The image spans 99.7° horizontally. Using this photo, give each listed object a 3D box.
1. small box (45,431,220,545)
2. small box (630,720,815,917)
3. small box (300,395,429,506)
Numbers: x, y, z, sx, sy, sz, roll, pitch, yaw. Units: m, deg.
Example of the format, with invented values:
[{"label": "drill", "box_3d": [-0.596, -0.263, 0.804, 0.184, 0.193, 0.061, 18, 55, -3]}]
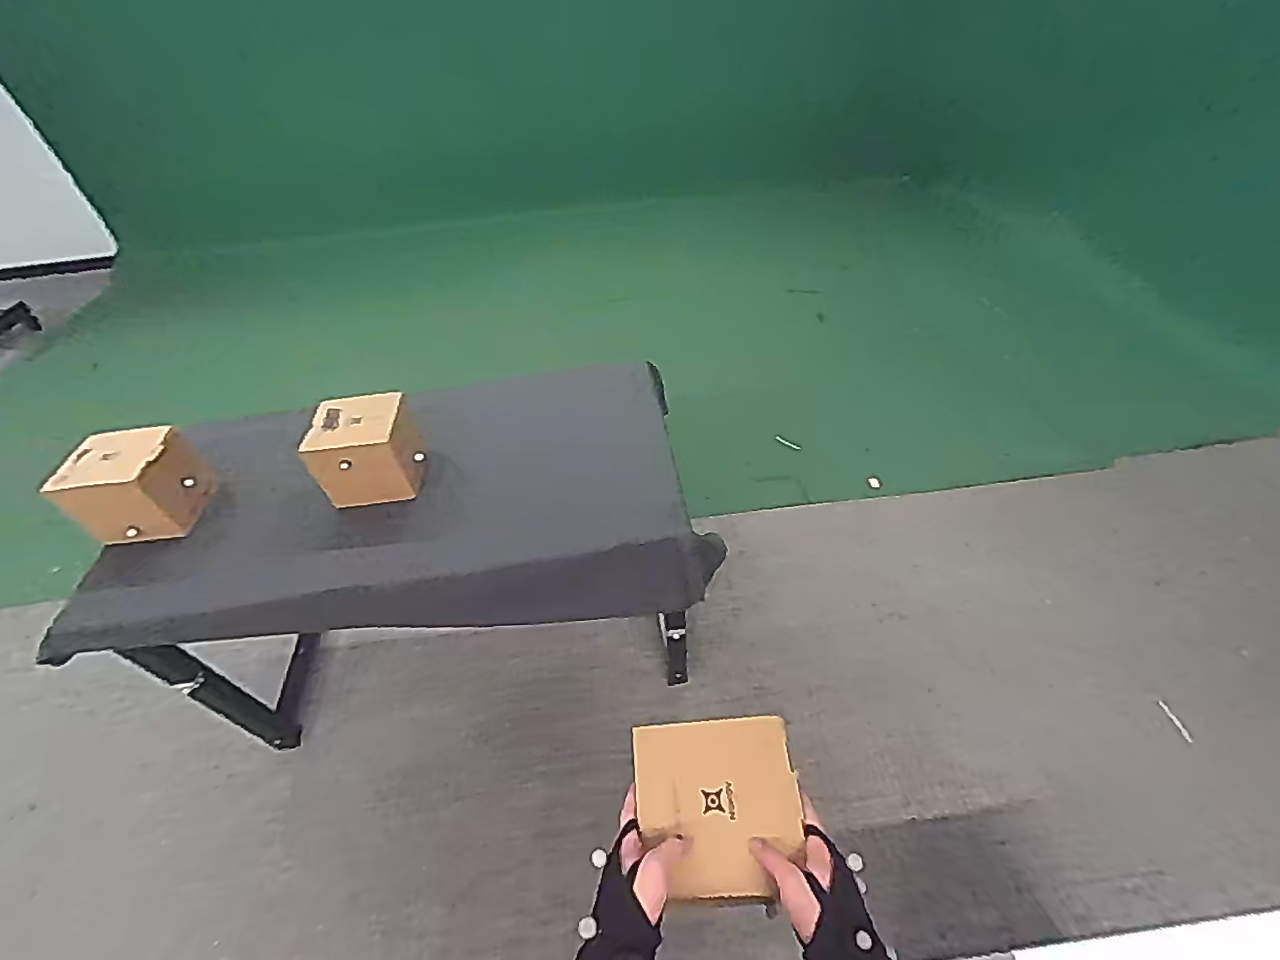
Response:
[{"label": "small box", "box_3d": [-1.039, 0.019, 1.131, 0.179, 0.176, 0.168, -6, 46, -2]}, {"label": "small box", "box_3d": [0.088, 0.395, 0.628, 0.179, 0.176, 0.168, -8, 48, 4]}, {"label": "small box", "box_3d": [-0.579, -0.058, 1.162, 0.179, 0.176, 0.168, -7, 46, -2]}]
